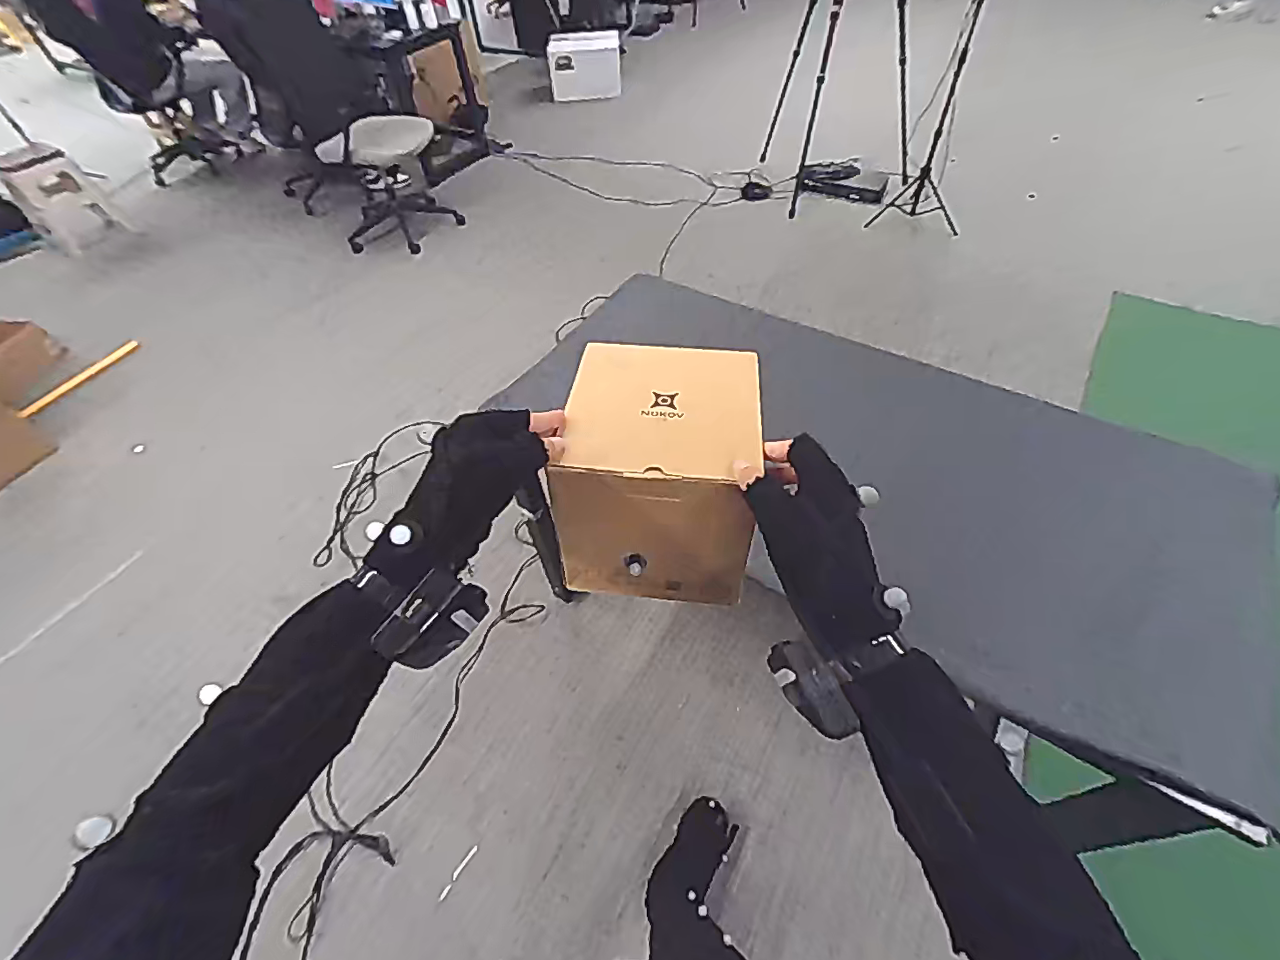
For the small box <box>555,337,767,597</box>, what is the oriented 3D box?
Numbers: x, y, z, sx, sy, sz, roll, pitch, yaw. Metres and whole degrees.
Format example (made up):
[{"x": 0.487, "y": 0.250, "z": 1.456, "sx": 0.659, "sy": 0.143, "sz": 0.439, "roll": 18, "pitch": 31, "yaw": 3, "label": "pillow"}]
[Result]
[{"x": 0.024, "y": -0.014, "z": 0.520, "sx": 0.168, "sy": 0.176, "sz": 0.179, "roll": 6, "pitch": 47, "yaw": 5, "label": "small box"}]
